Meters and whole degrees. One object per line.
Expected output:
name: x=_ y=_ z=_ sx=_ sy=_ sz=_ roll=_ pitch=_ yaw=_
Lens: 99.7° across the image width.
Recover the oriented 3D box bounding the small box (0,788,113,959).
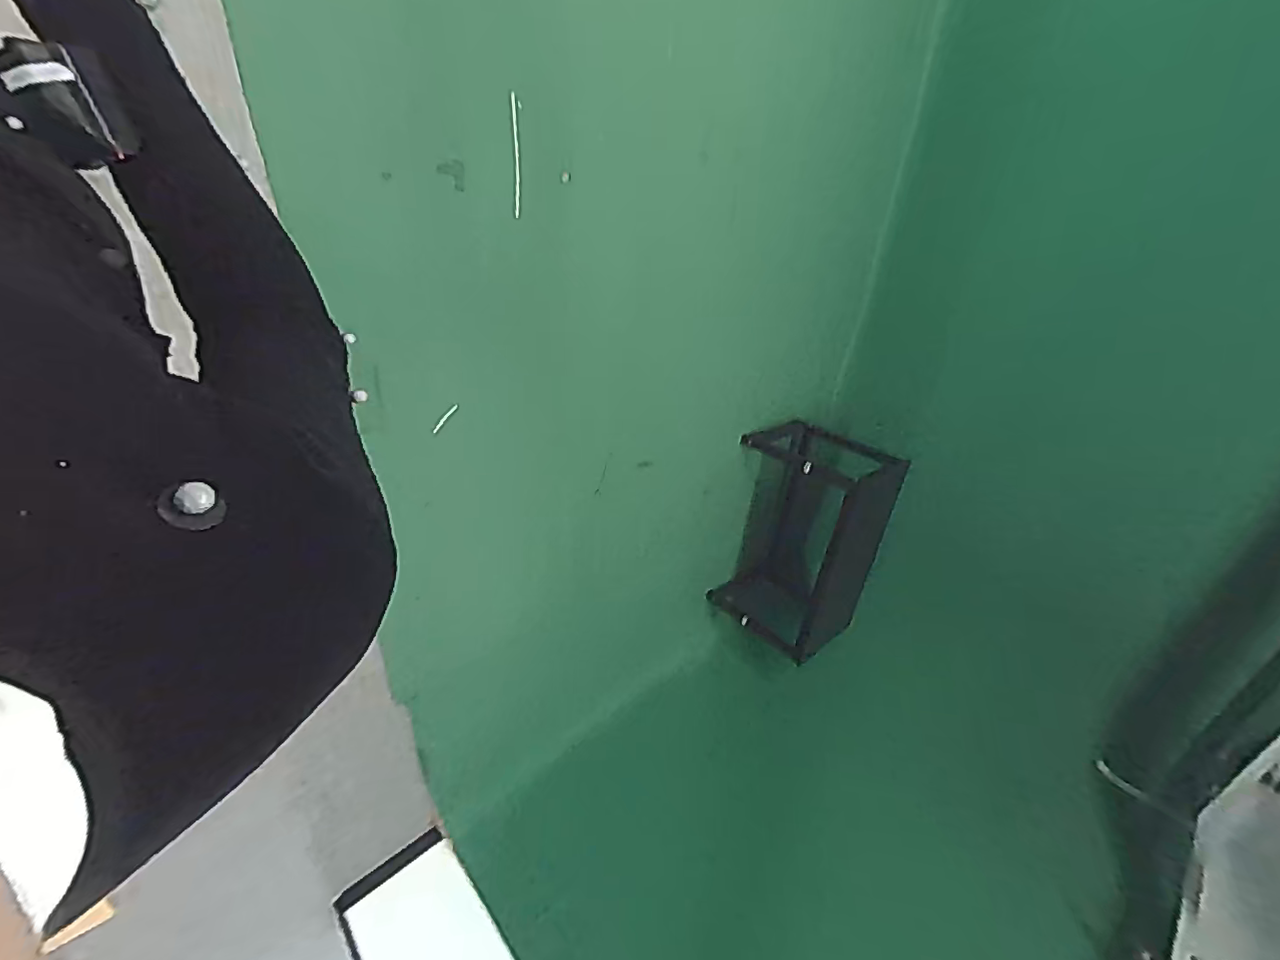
small box: x=-1.003 y=0.654 z=0.882 sx=0.168 sy=0.176 sz=0.179 roll=-20 pitch=128 yaw=-39
